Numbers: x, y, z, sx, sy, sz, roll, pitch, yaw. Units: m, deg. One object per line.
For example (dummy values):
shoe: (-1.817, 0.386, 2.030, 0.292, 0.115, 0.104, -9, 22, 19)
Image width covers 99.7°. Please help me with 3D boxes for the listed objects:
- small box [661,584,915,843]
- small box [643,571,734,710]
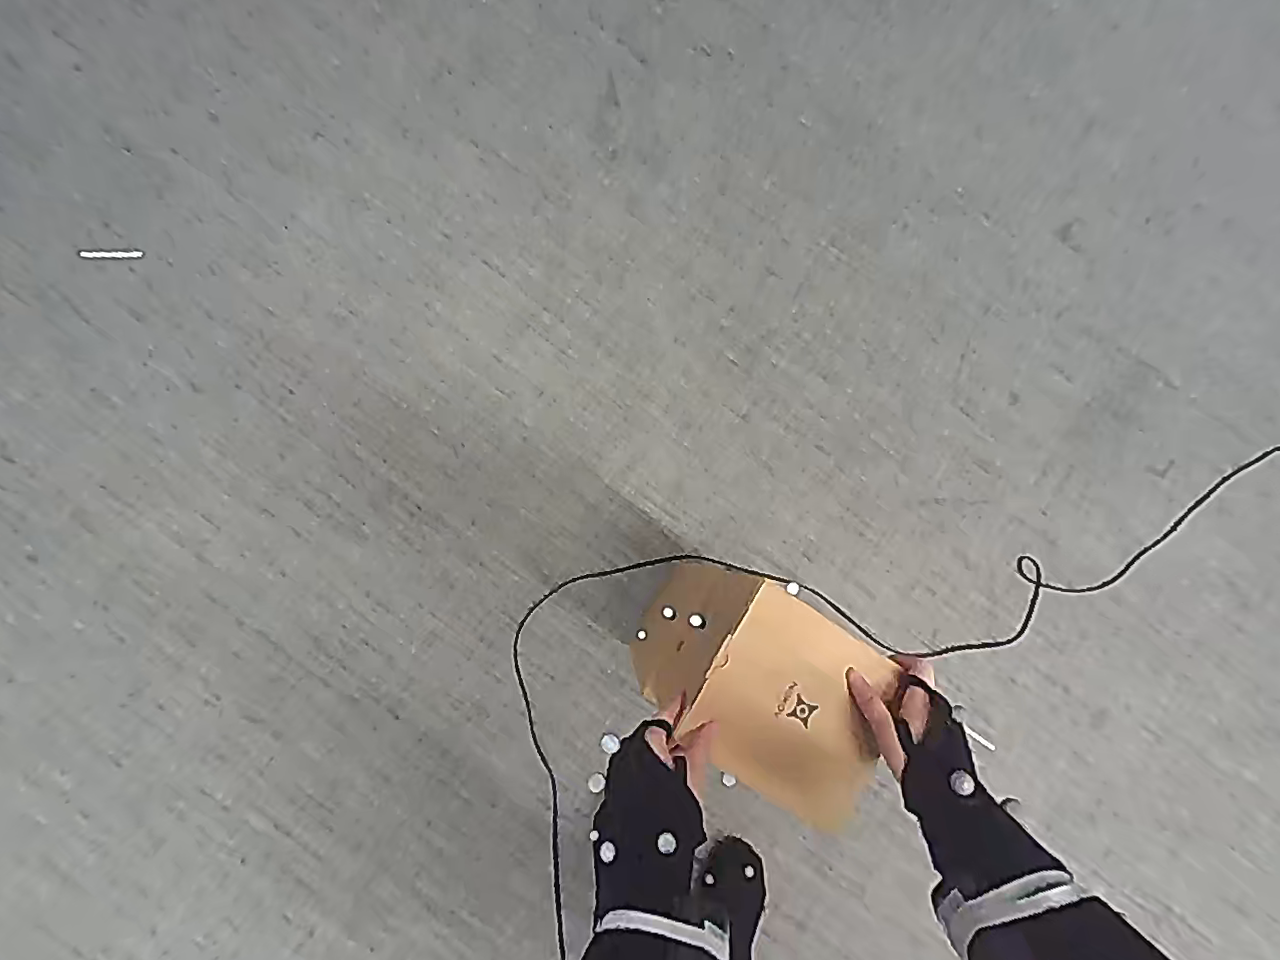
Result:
small box: (0.138, 0.222, 0.573, 0.179, 0.176, 0.168, 31, 83, 2)
small box: (0.114, 0.240, 0.734, 0.168, 0.176, 0.179, 31, 82, 0)
